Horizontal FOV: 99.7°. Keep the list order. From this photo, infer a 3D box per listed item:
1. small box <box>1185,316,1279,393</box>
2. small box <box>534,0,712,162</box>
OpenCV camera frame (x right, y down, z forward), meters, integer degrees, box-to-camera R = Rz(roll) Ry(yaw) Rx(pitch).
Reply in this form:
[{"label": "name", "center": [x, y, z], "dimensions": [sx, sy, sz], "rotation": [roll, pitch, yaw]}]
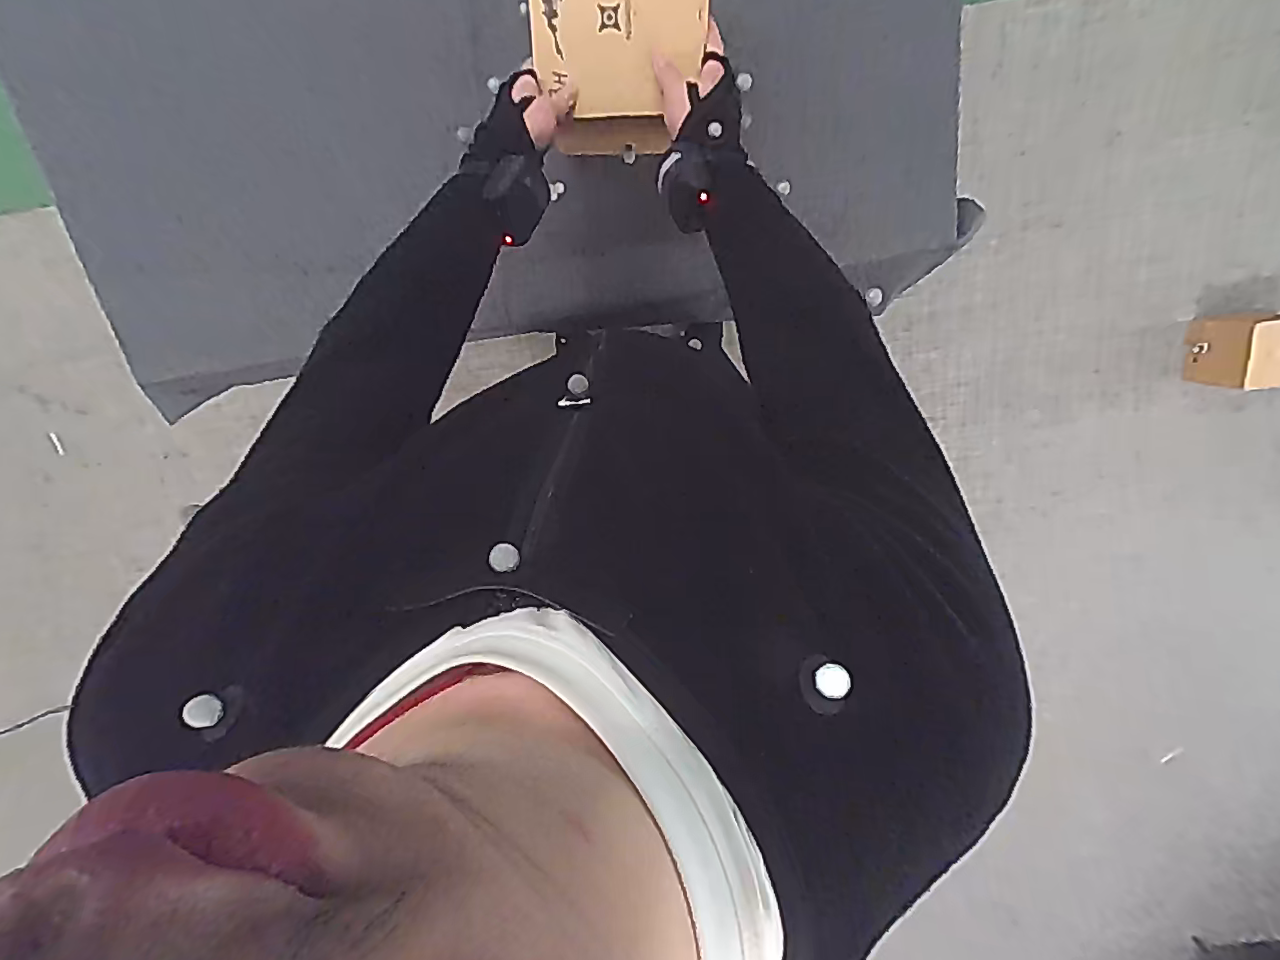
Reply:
[{"label": "small box", "center": [1.546, -0.318, 1.355], "dimensions": [0.179, 0.176, 0.168], "rotation": [-6, 106, 4]}, {"label": "small box", "center": [-0.016, -0.469, 0.608], "dimensions": [0.179, 0.176, 0.168], "rotation": [0, 110, 2]}]
